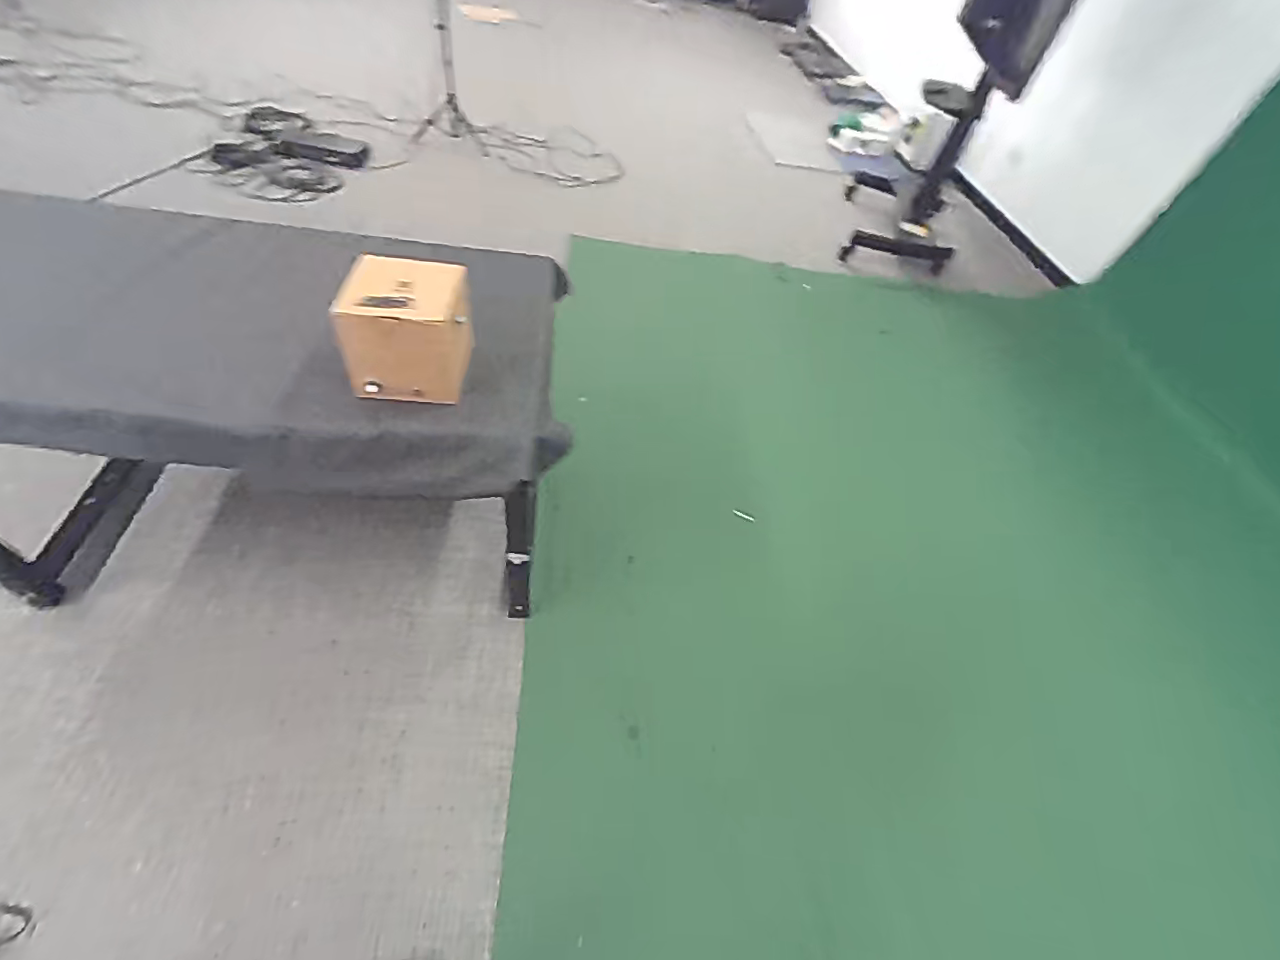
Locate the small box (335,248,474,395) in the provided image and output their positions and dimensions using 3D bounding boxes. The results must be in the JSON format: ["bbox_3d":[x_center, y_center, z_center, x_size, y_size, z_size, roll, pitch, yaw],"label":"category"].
[{"bbox_3d":[-0.384,-0.265,0.920,0.168,0.176,0.179,4,49,-8],"label":"small box"}]
